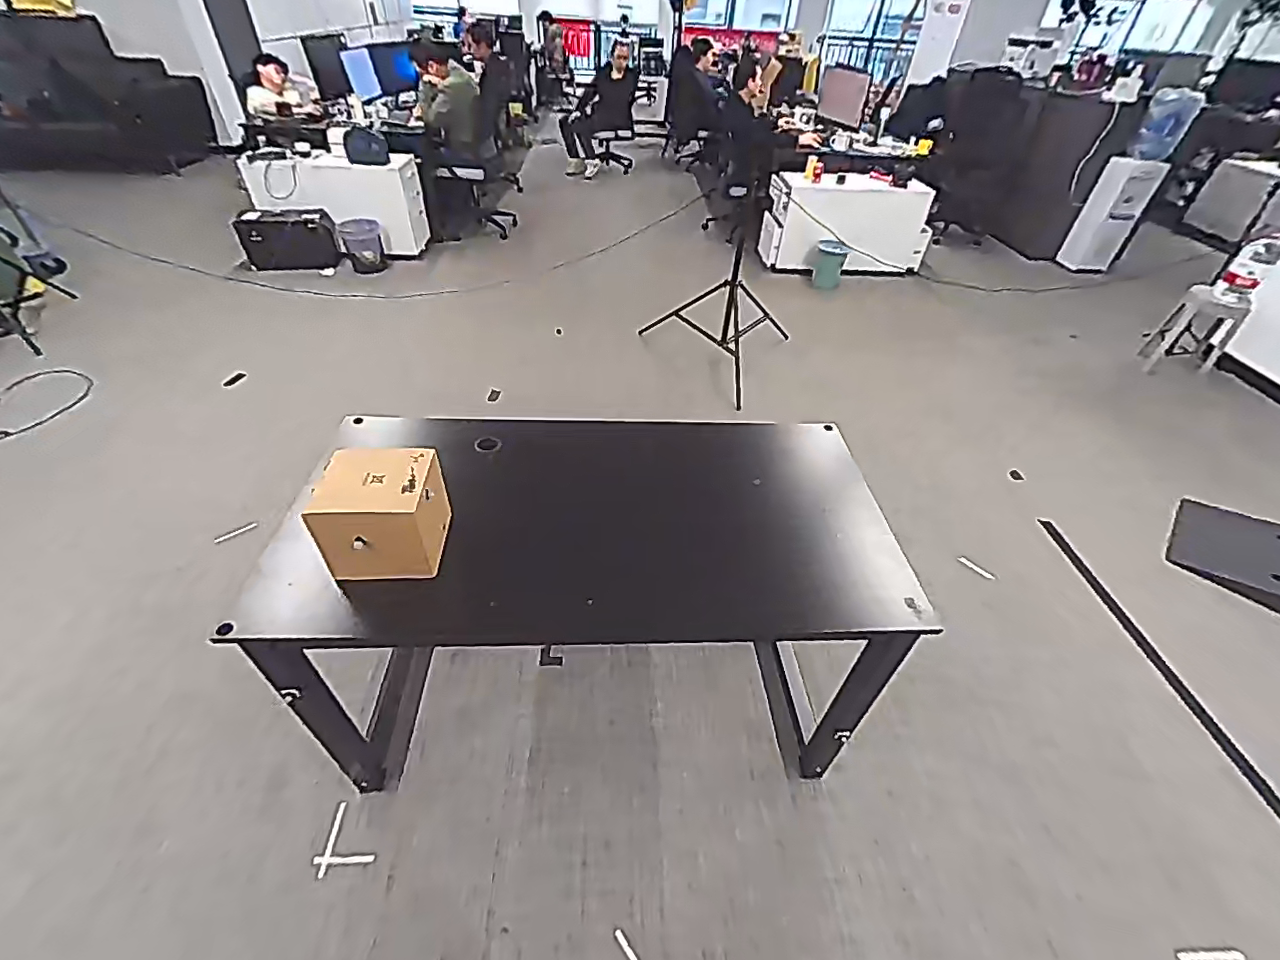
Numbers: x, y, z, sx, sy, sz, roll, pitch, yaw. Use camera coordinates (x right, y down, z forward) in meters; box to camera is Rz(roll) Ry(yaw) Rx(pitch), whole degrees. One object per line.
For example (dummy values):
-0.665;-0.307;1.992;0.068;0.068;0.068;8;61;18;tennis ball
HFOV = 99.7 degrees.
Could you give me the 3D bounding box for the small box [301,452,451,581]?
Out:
-0.454;0.066;0.963;0.179;0.176;0.168;-1;42;-5;small box
